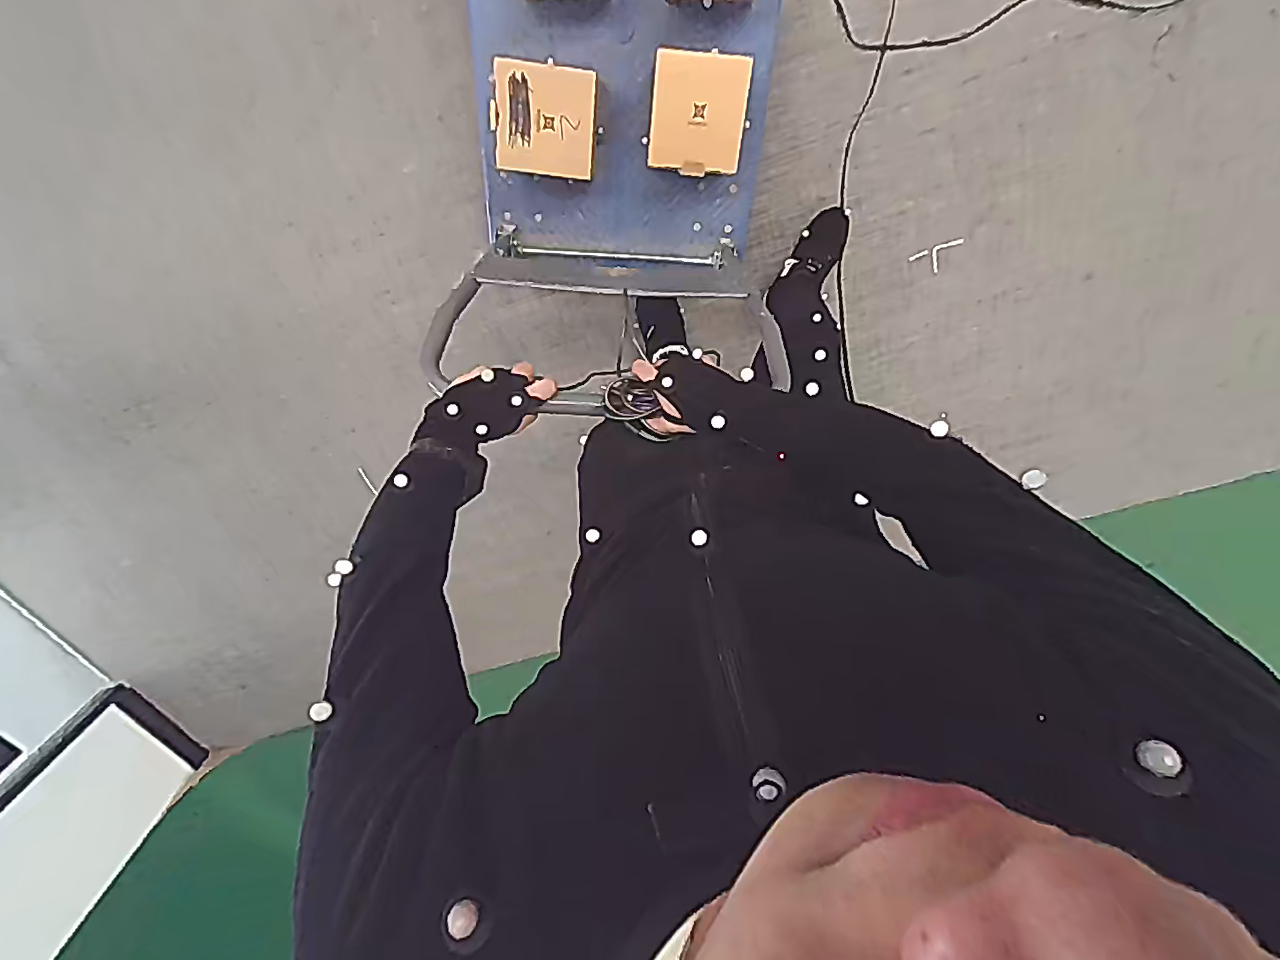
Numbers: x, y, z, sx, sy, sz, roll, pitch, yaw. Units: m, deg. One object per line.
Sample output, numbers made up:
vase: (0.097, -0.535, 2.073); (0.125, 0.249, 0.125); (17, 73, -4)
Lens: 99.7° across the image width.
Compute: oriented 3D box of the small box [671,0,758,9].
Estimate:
small box: (0.130, -0.898, 0.877); (0.168, 0.176, 0.179); (2, 123, 0)

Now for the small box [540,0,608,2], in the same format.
small box: (-0.127, -0.902, 0.875); (0.168, 0.176, 0.179); (-1, 122, 0)

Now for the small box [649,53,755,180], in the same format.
small box: (0.107, -0.678, 1.019); (0.168, 0.176, 0.179); (4, 123, -2)
